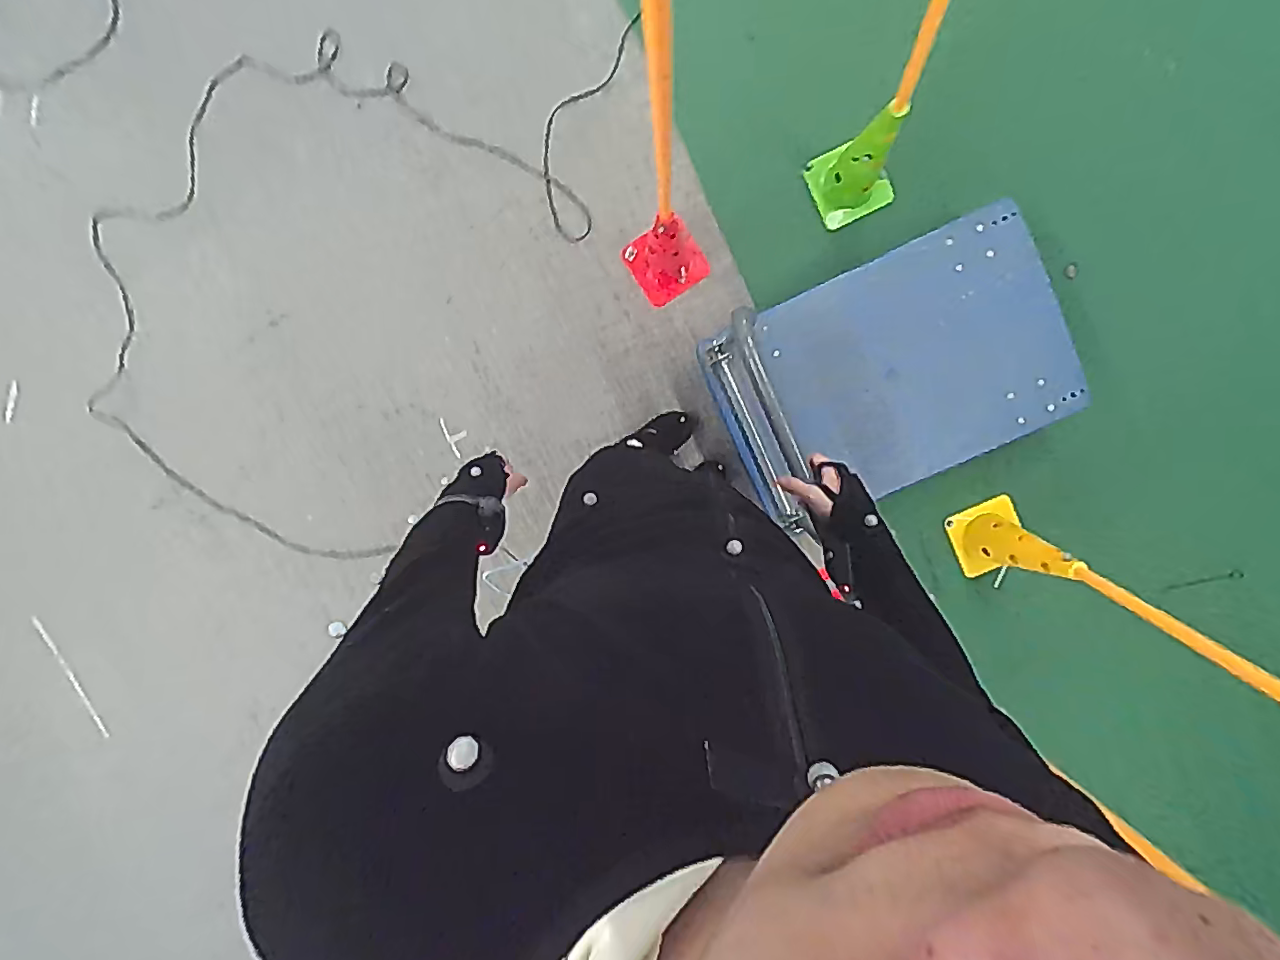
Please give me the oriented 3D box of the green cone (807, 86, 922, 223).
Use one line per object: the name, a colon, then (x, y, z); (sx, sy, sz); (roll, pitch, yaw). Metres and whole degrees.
green cone: (0.575, -0.816, 1.310); (0.202, 0.368, 0.200); (-25, 94, 4)
